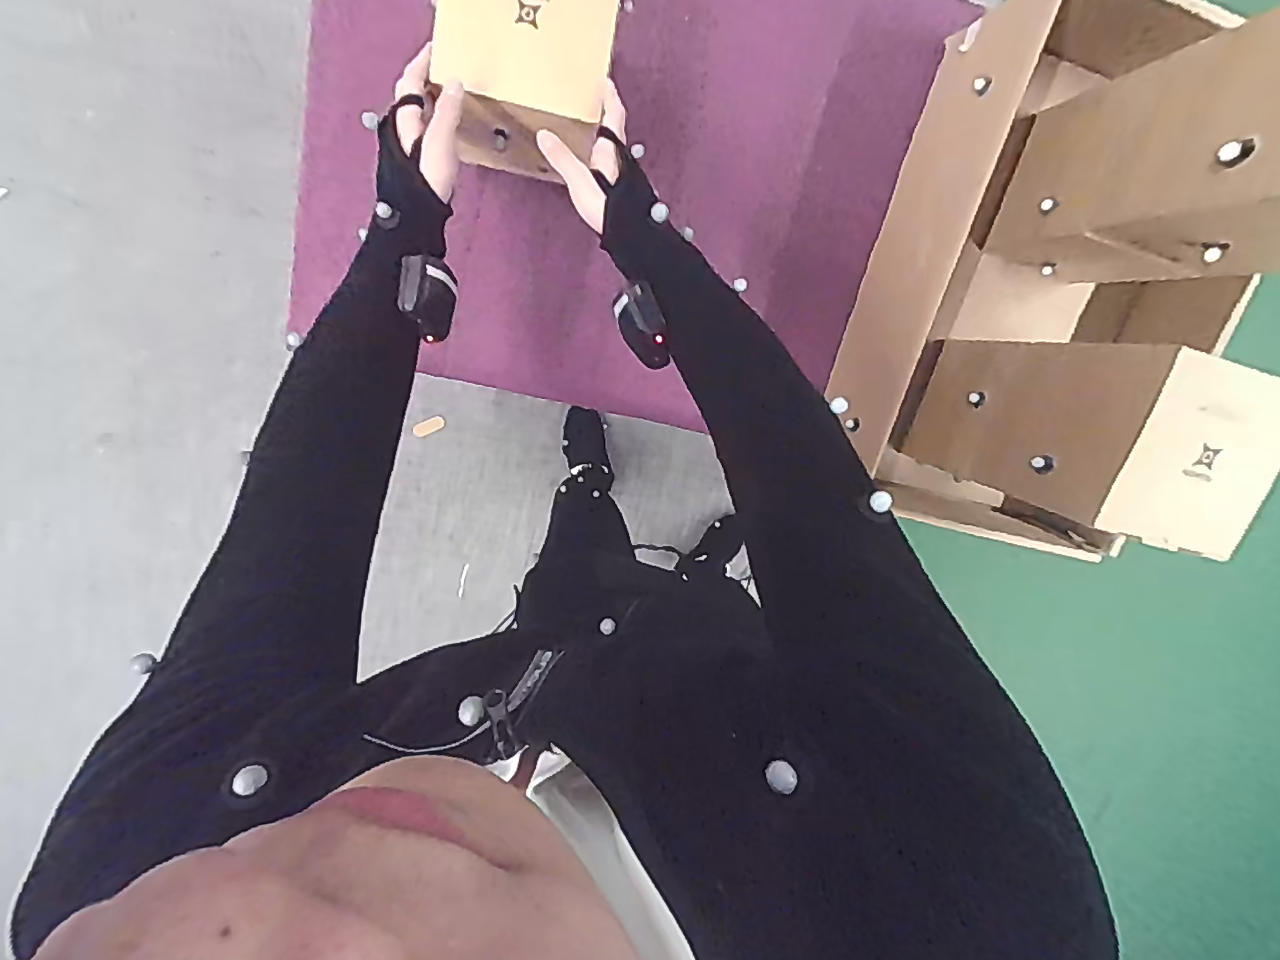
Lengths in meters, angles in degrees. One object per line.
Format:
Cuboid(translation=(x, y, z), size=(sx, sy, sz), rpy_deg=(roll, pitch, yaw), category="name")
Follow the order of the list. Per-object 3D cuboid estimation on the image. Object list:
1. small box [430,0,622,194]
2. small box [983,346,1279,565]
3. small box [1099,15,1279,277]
Cuboid(translation=(-0.115, -0.446, 0.590), size=(0.168, 0.176, 0.179), rpy_deg=(8, 93, -10), category="small box")
Cuboid(translation=(0.514, -0.036, 0.578), size=(0.168, 0.176, 0.179), rpy_deg=(14, 103, -9), category="small box")
Cuboid(translation=(0.597, -0.304, 0.509), size=(0.168, 0.176, 0.179), rpy_deg=(15, 105, -11), category="small box")
